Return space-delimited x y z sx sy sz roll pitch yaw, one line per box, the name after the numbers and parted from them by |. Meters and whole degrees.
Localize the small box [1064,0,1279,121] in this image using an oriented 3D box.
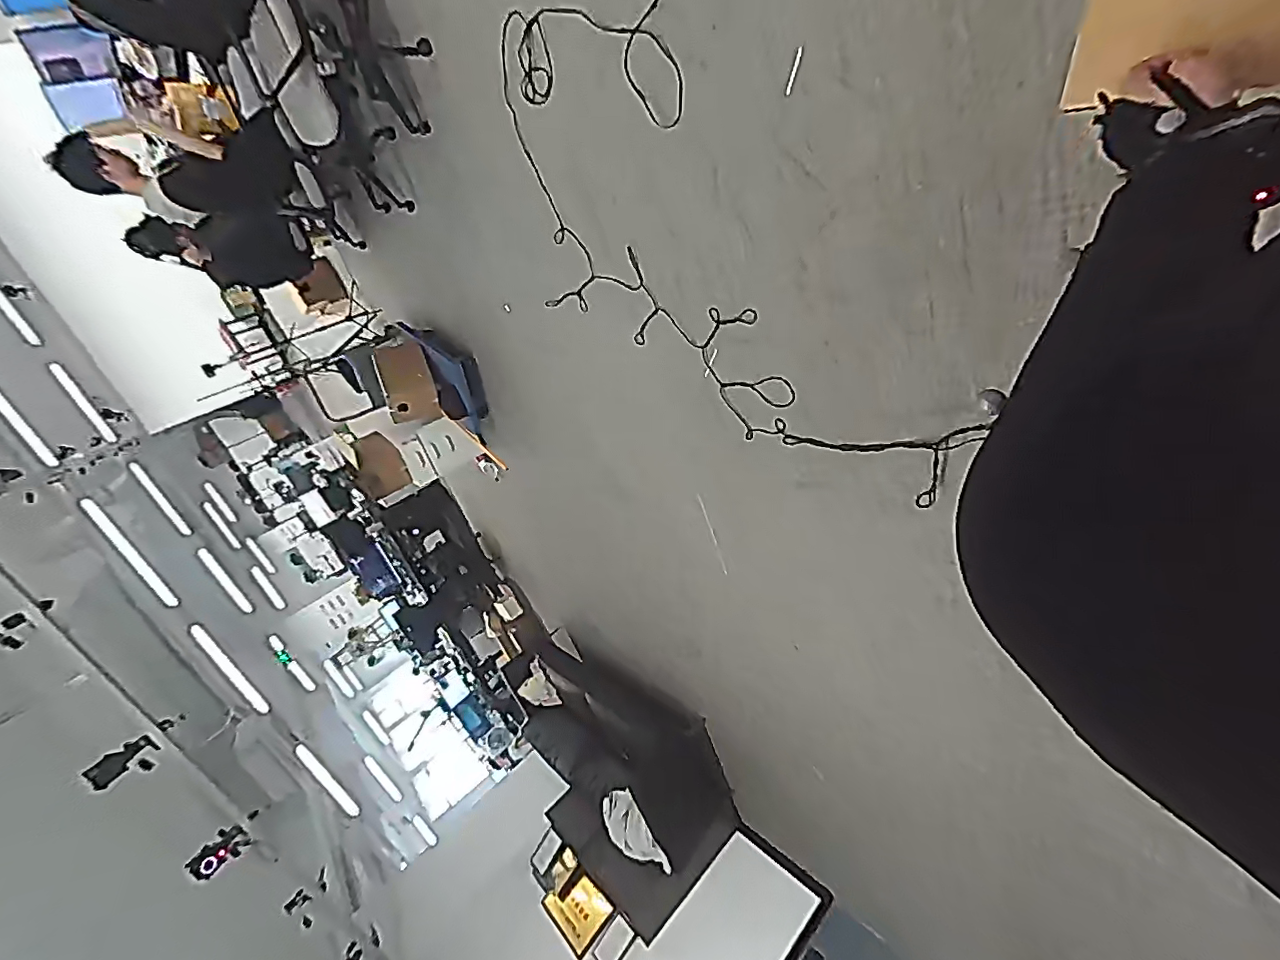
0.515 -0.445 0.492 0.168 0.179 0.176 16 128 38 | small box
